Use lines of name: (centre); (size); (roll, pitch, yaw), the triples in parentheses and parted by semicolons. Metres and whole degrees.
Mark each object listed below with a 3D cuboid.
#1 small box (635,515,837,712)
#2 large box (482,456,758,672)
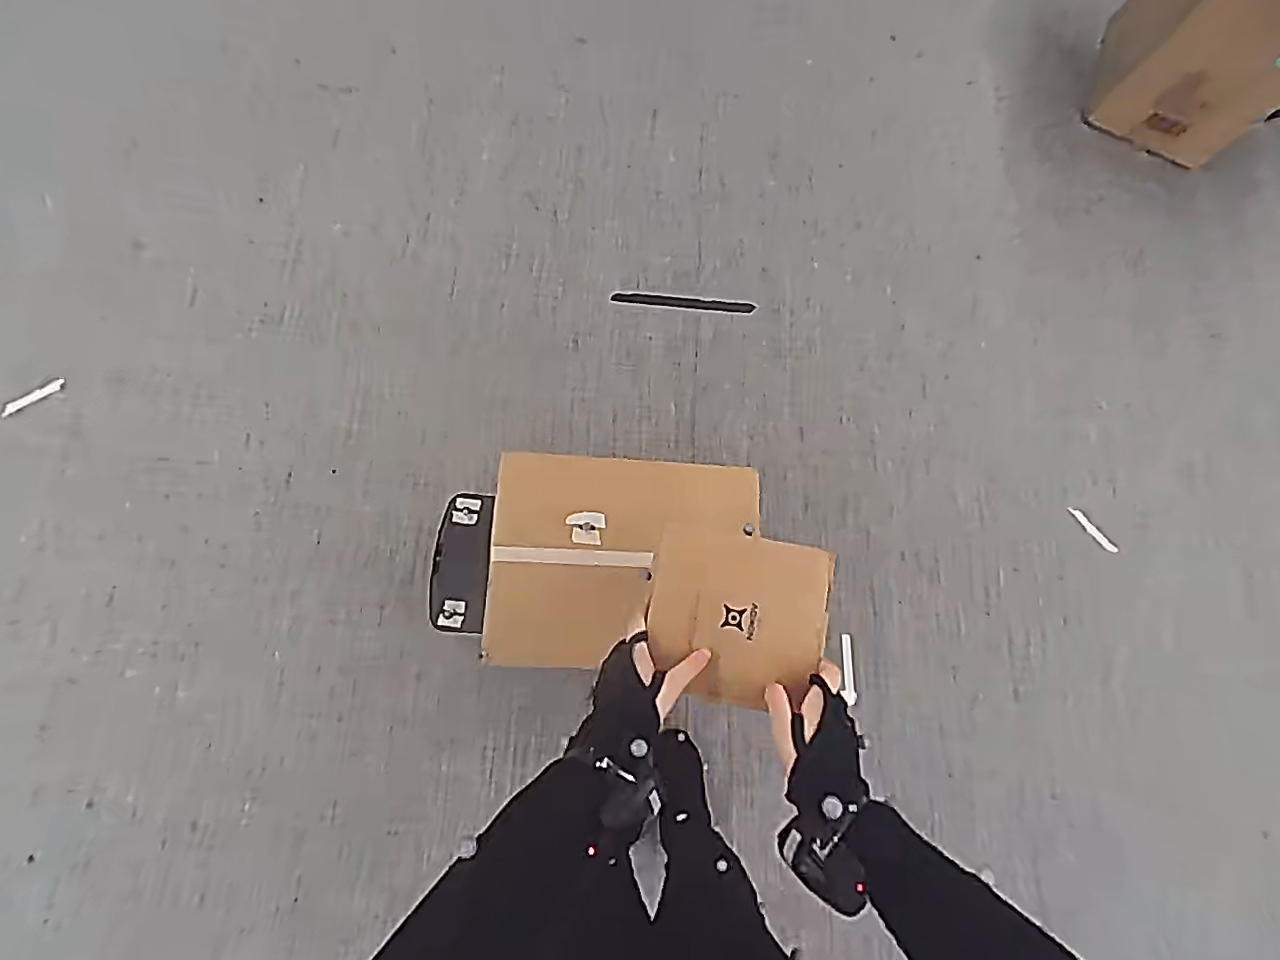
small box: (0.095, 0.139, 0.609); (0.179, 0.176, 0.168); (11, 82, 1)
large box: (-0.029, 0.153, 0.942); (0.408, 0.320, 0.320); (3, 76, -4)
